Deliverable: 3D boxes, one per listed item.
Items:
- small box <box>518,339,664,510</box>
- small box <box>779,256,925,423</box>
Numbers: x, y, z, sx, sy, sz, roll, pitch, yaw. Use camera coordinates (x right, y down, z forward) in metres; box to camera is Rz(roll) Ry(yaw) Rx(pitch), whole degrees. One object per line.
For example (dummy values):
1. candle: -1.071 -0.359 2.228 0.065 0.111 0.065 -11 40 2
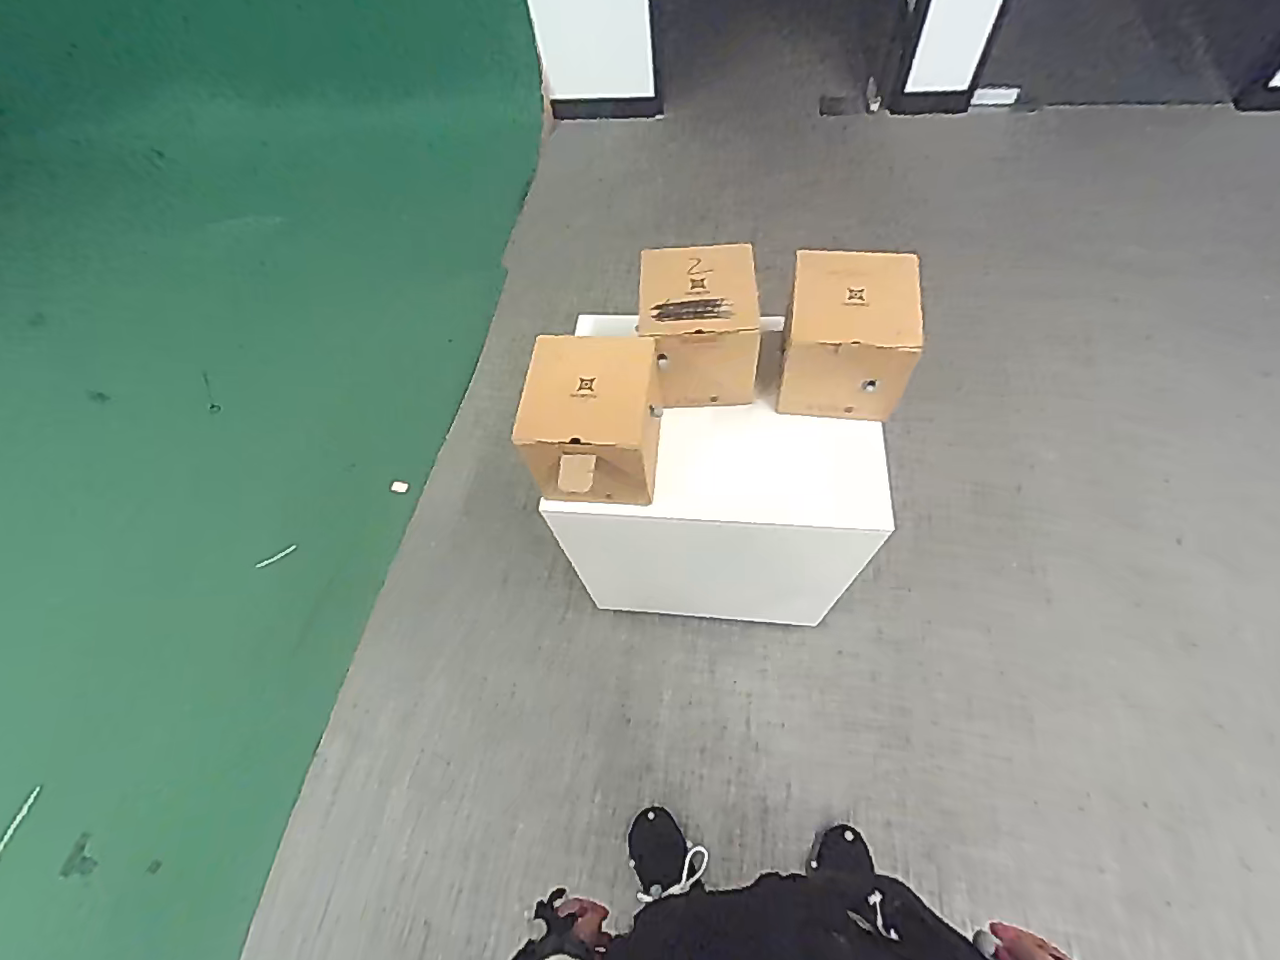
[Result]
1. small box: -0.056 -0.076 0.769 0.168 0.176 0.179 3 61 8
2. small box: 0.302 -0.203 0.801 0.168 0.176 0.179 6 62 9
